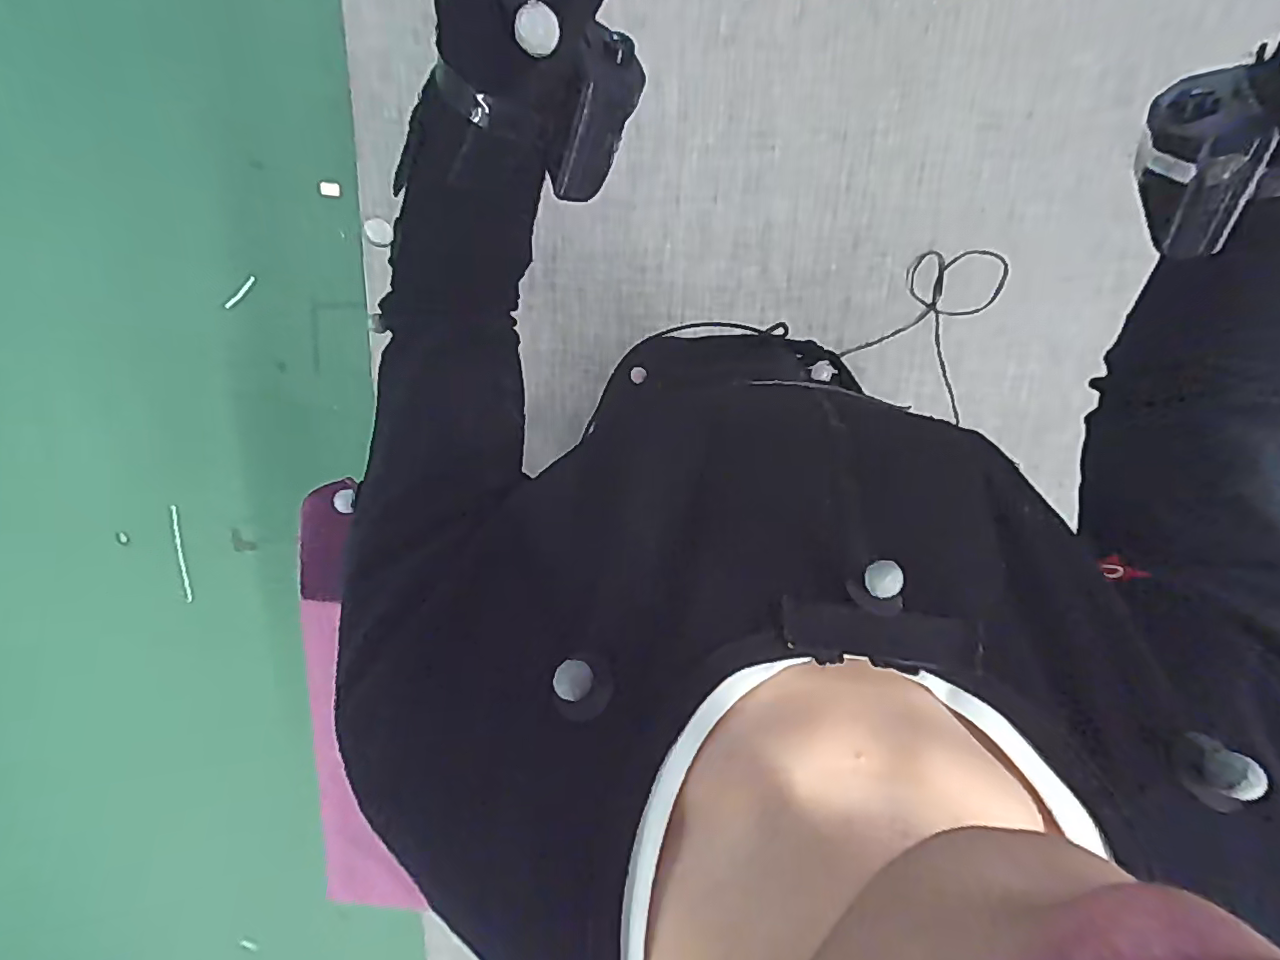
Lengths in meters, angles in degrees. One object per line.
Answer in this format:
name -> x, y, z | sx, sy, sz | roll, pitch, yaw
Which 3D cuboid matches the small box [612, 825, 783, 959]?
small box -> 0.060, 0.536, 0.622 | 0.179, 0.176, 0.168 | 7, 105, 2
